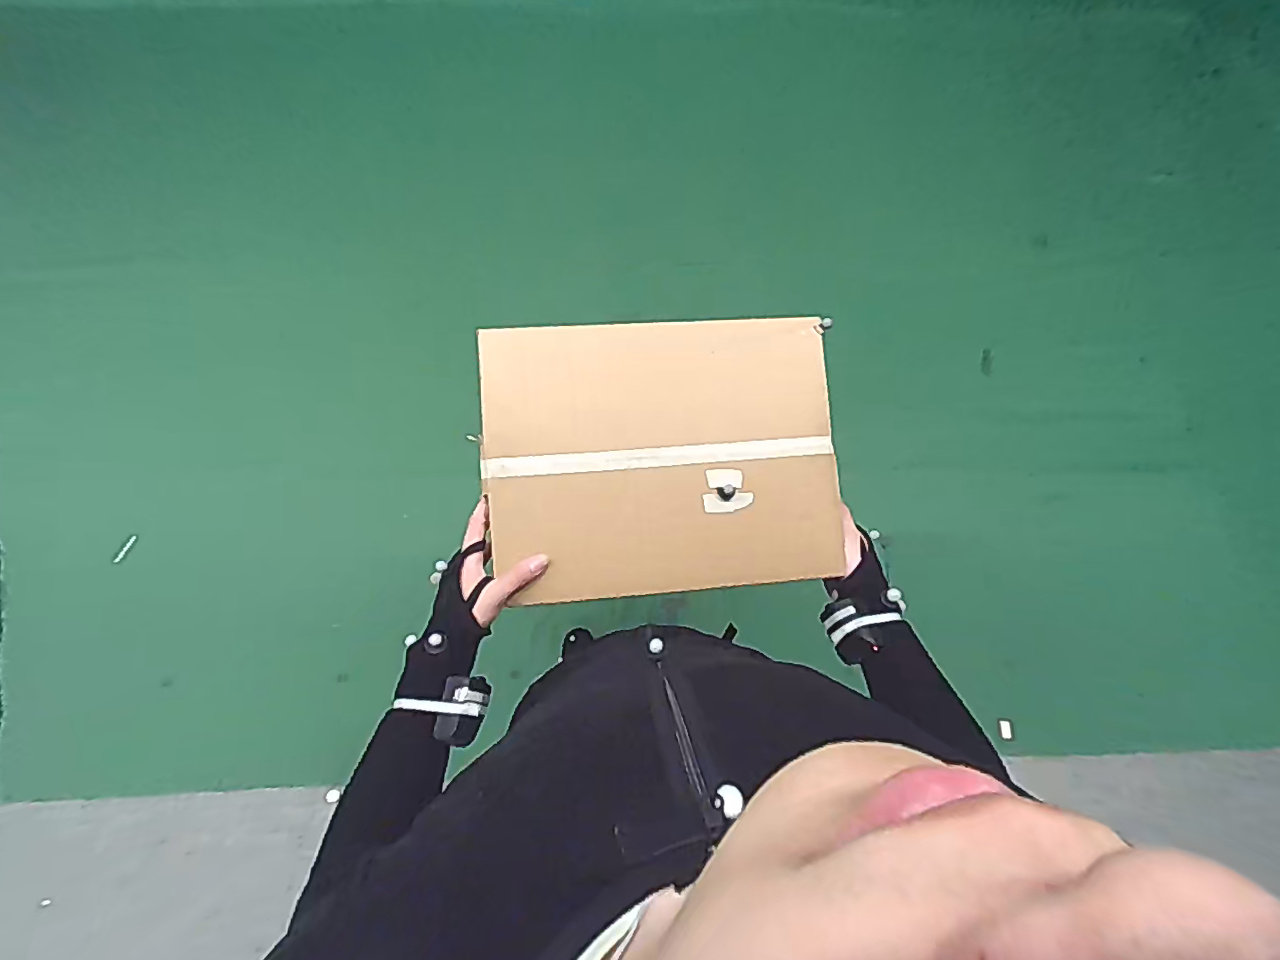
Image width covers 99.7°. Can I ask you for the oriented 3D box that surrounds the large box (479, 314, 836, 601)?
[{"bbox_3d":[0.007,-0.025,0.776,0.408,0.320,0.320,-4,88,-7],"label":"large box"}]
